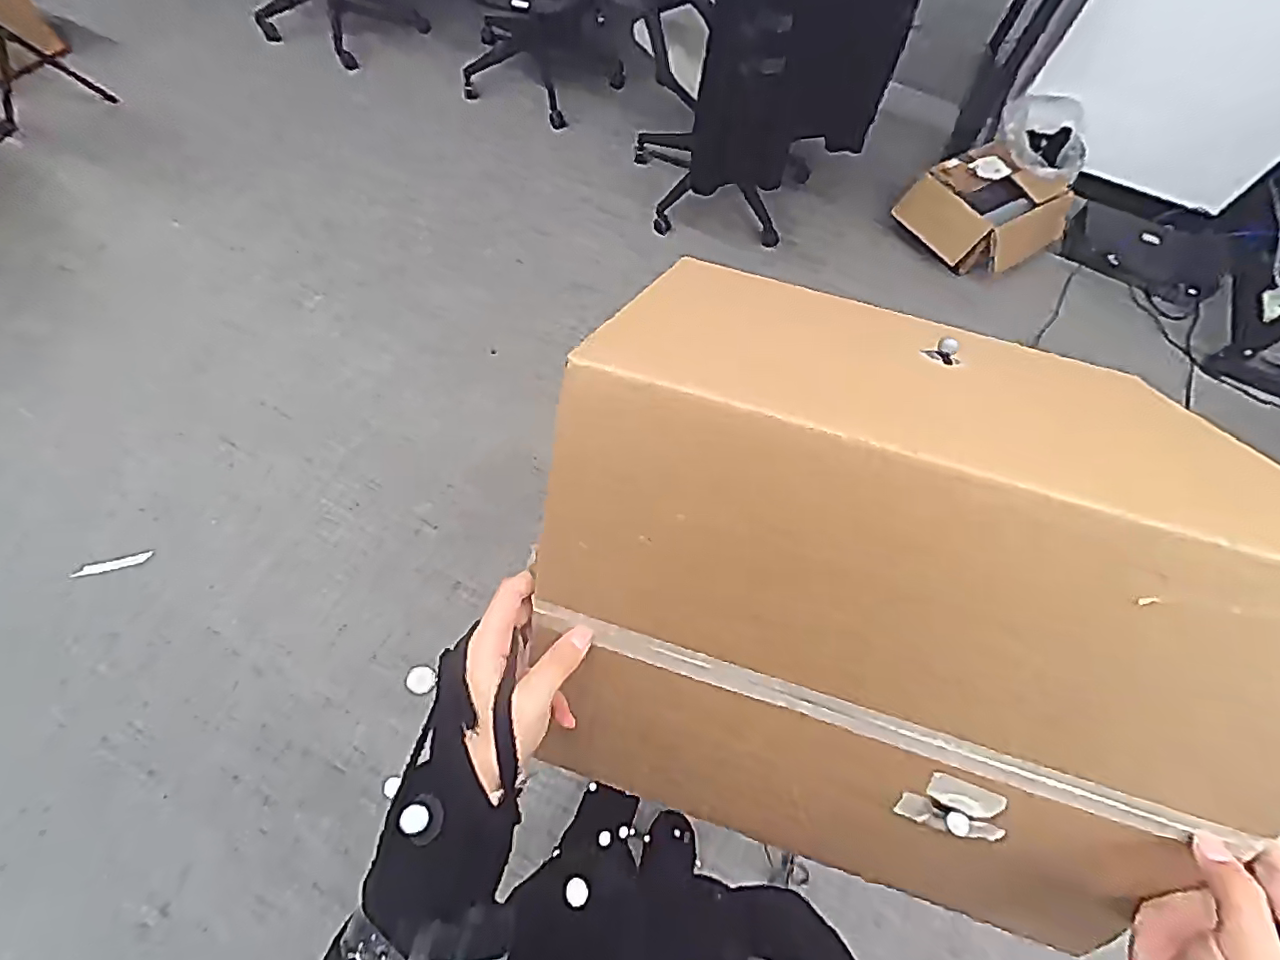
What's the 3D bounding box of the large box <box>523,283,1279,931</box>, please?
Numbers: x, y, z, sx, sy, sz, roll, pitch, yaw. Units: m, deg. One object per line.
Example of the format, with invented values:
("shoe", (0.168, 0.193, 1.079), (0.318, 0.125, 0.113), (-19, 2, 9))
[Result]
("large box", (0.156, 0.060, 0.437), (0.408, 0.320, 0.320), (16, 33, 5))
